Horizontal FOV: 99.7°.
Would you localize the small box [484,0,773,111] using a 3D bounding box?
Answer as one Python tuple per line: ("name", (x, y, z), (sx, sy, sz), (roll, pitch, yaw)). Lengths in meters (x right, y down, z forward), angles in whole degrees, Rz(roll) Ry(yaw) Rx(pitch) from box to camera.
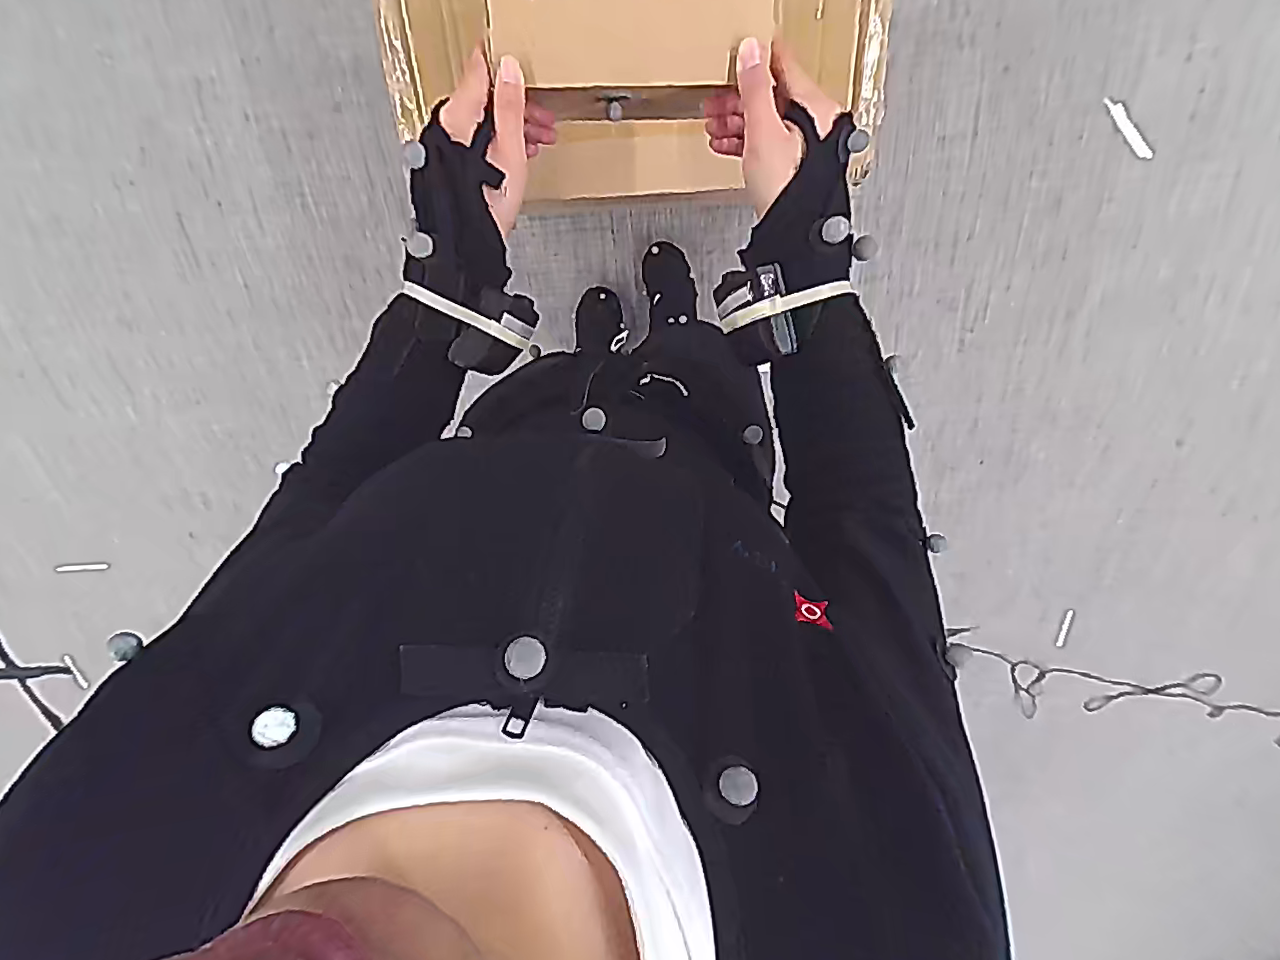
("small box", (-0.007, -0.364, 0.372), (0.179, 0.176, 0.168), (-1, 118, 0))
